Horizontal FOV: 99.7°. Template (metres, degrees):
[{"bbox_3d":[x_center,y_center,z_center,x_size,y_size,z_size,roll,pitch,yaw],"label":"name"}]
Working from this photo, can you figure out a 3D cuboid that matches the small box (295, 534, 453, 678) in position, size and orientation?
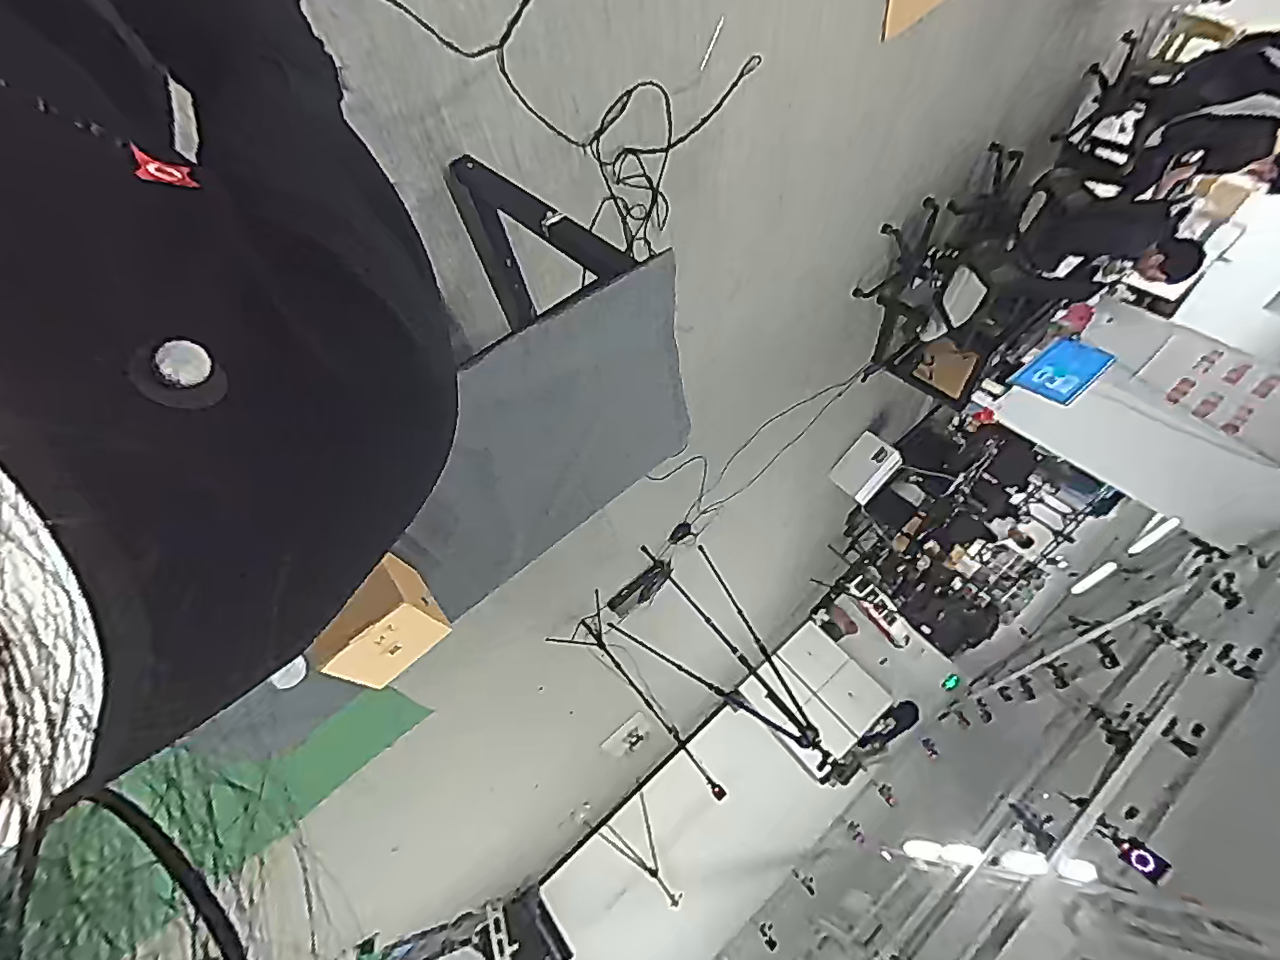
[{"bbox_3d":[-0.483,0.228,0.992,0.168,0.176,0.179,-40,150,-13],"label":"small box"}]
